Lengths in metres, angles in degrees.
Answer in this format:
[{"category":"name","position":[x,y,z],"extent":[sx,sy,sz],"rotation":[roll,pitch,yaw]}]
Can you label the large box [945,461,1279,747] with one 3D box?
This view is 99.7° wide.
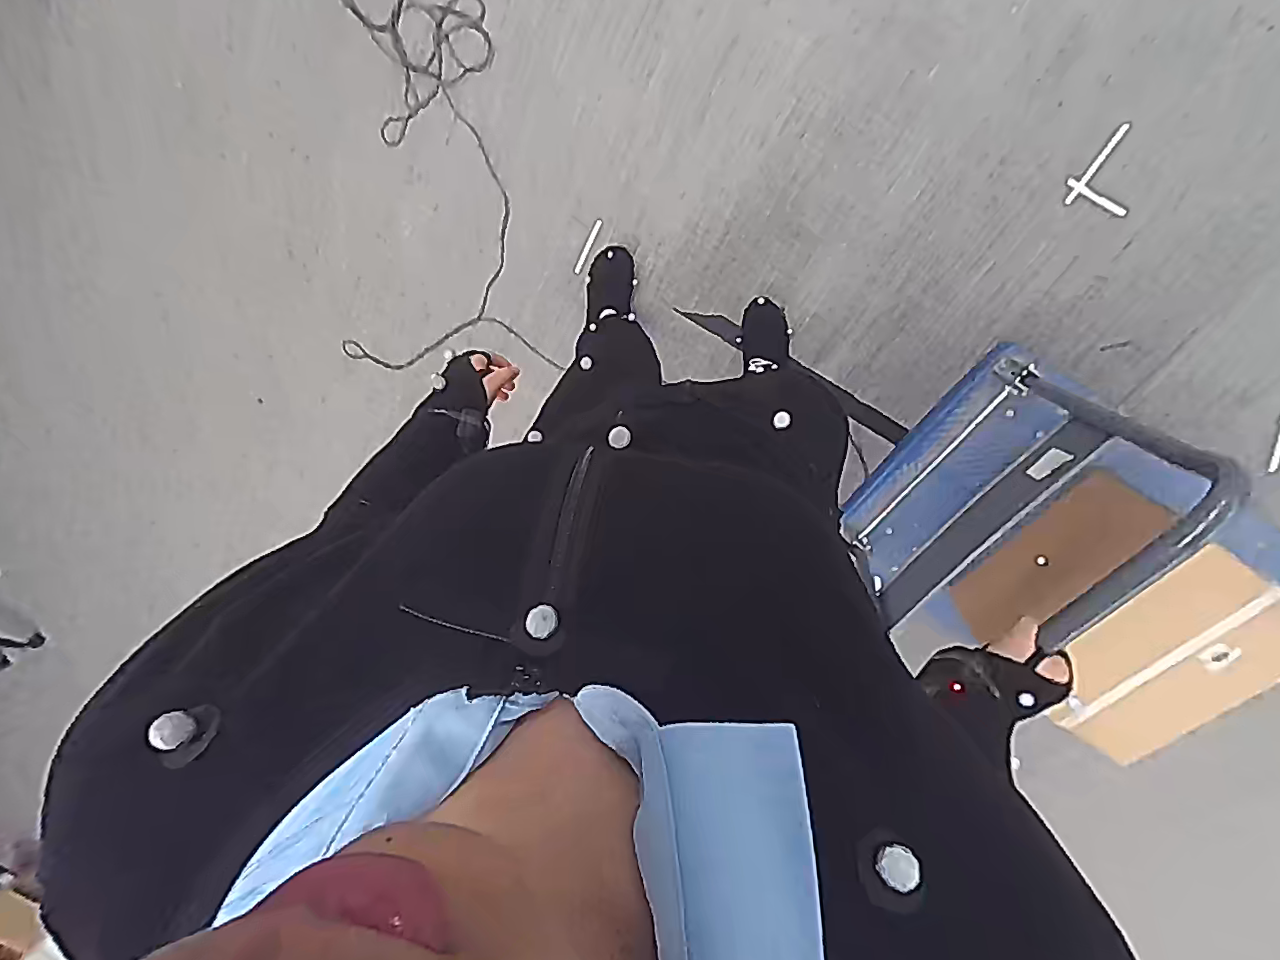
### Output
[{"category":"large box","position":[0.929,0.238,1.103],"extent":[0.320,0.320,0.408],"rotation":[34,114,-3]}]
